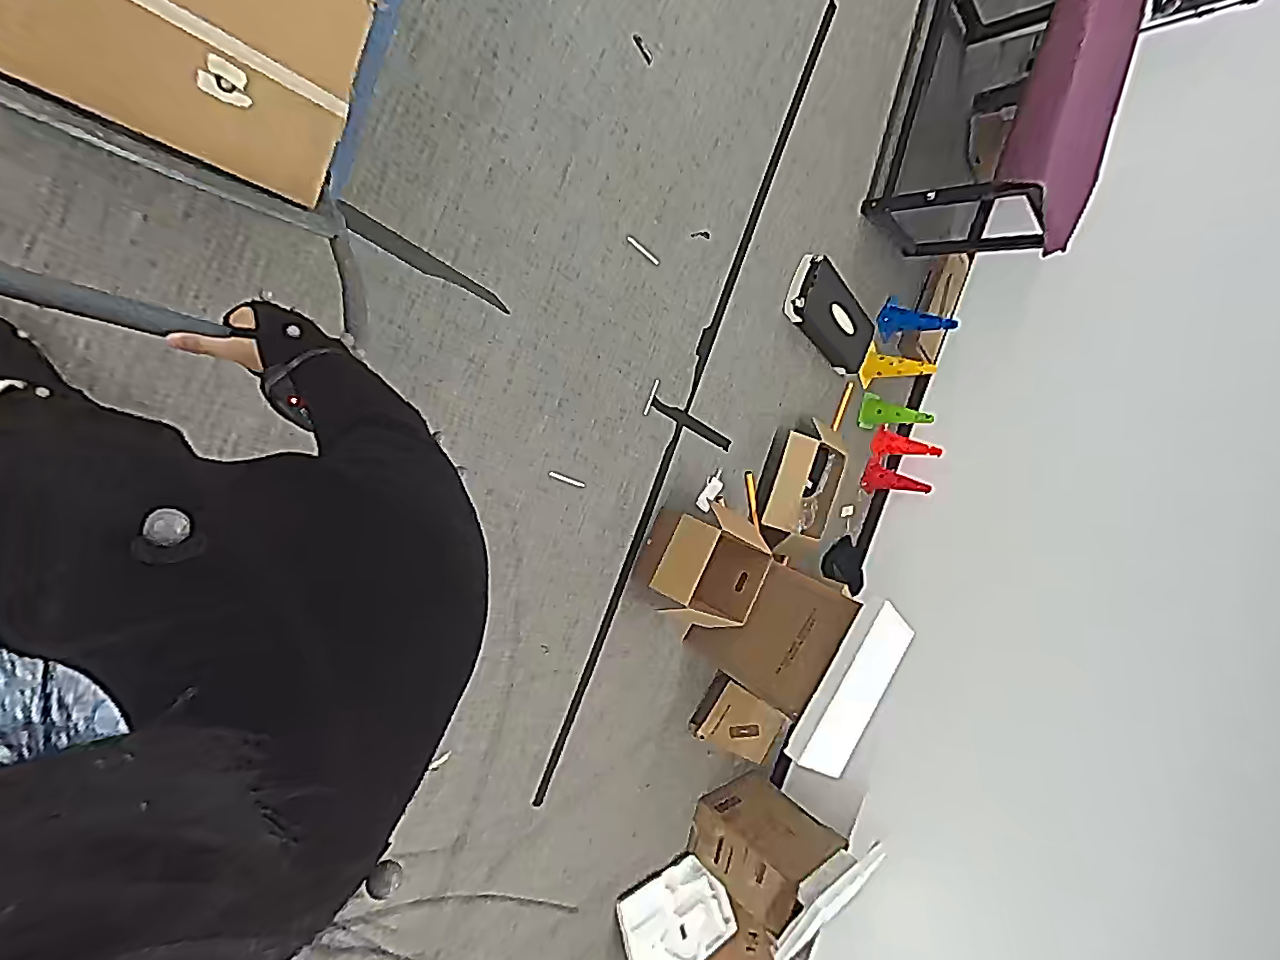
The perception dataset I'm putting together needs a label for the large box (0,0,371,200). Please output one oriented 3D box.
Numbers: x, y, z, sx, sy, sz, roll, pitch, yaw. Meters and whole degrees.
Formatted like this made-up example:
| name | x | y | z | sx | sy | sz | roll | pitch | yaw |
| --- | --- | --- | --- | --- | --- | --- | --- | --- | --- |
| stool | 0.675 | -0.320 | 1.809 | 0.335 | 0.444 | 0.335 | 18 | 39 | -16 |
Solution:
| name | x | y | z | sx | sy | sz | roll | pitch | yaw |
| --- | --- | --- | --- | --- | --- | --- | --- | --- | --- |
| large box | -0.668 | -0.681 | 0.767 | 0.408 | 0.320 | 0.320 | 12 | 120 | -45 |
